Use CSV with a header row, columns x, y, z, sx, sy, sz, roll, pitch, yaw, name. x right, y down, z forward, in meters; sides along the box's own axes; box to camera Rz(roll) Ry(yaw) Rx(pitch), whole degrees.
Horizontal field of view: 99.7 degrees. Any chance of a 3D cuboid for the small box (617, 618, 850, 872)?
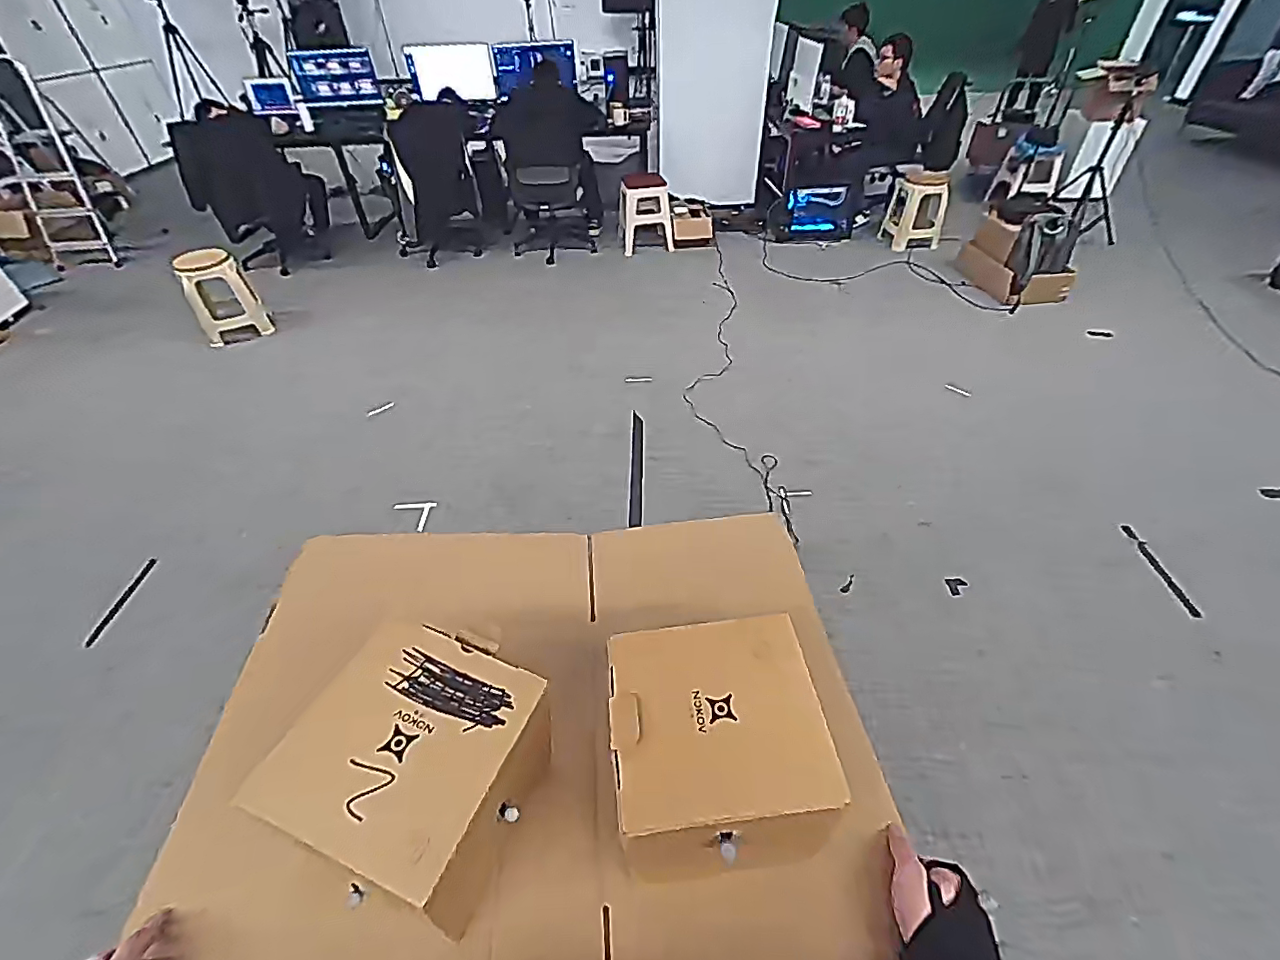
x,y,z,sx,sy,sz,roll,pitch,yaw,name
0.075,0.257,0.525,0.179,0.176,0.168,-7,43,-1,small box
